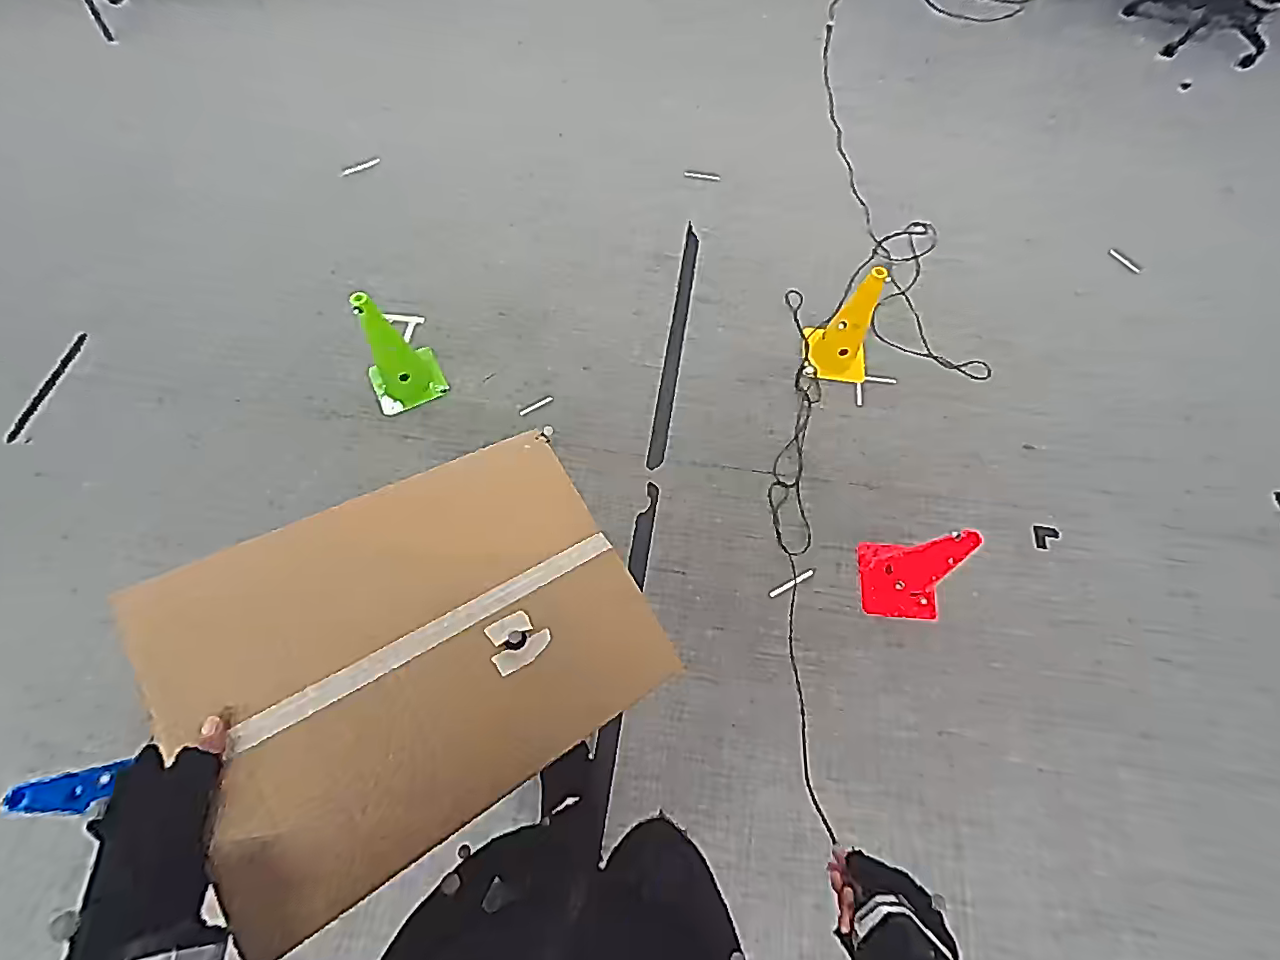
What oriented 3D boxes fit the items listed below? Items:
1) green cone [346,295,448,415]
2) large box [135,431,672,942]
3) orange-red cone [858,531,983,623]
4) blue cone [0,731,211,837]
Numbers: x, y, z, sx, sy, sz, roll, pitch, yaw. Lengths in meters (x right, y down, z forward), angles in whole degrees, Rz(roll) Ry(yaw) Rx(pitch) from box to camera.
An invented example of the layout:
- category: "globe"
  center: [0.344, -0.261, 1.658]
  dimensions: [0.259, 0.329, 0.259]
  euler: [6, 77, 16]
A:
- category: "green cone"
  center: [-0.713, -0.380, 1.515]
  dimensions: [0.202, 0.368, 0.200]
  euler: [-27, 68, -12]
- category: "large box"
  center: [-0.243, 0.205, 0.646]
  dimensions: [0.408, 0.320, 0.320]
  euler: [-25, 76, -28]
- category: "orange-red cone"
  center: [0.695, 0.198, 1.294]
  dimensions: [0.198, 0.360, 0.199]
  euler: [7, 63, 0]
- category: "blue cone"
  center: [-1.032, 0.606, 1.059]
  dimensions: [0.192, 0.380, 0.193]
  euler: [11, 65, 4]
